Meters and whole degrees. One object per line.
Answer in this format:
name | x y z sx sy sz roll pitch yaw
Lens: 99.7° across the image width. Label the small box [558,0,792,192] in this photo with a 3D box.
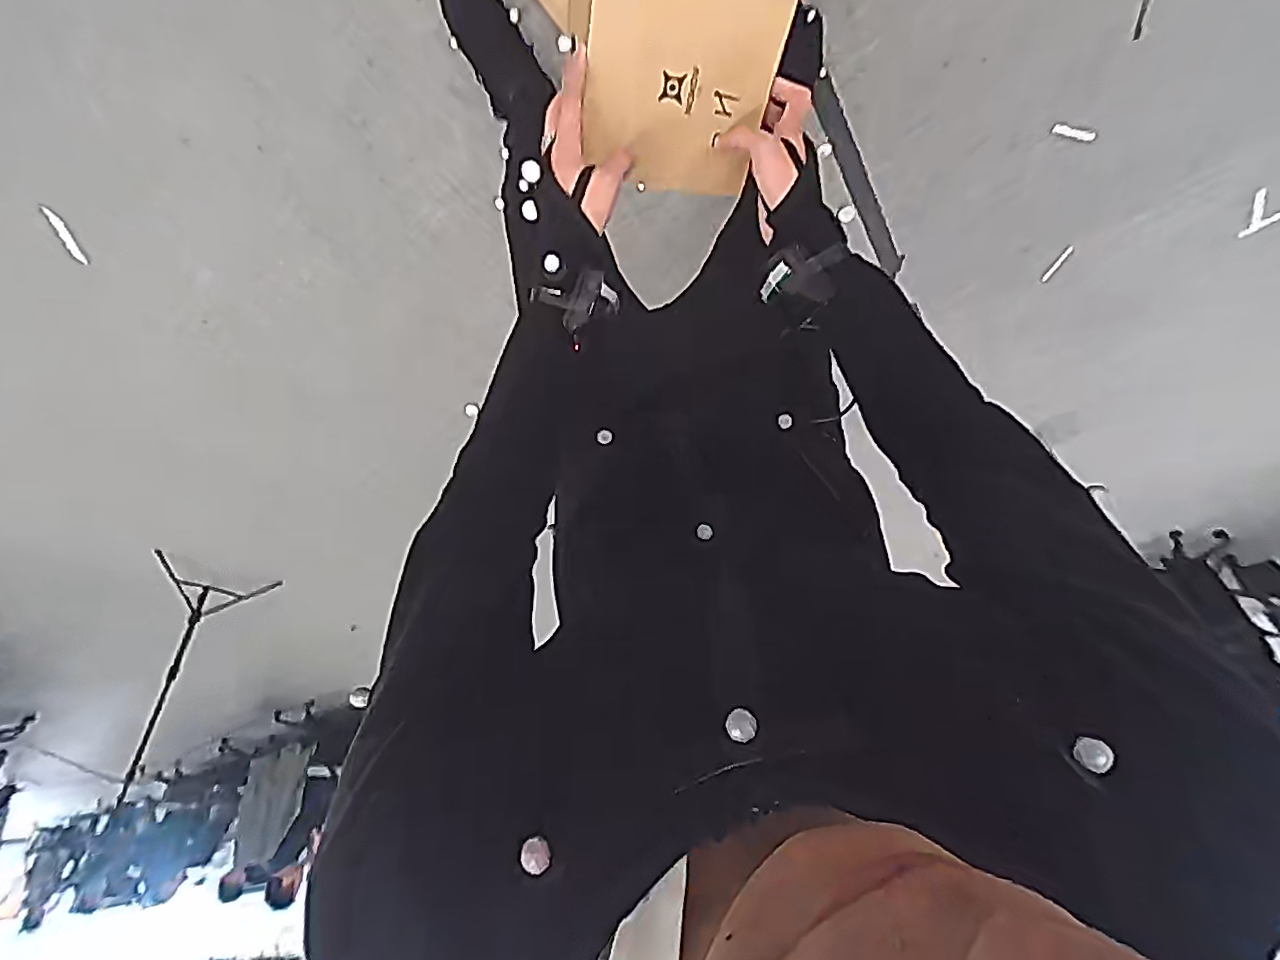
small box | 0.016 -0.414 0.537 0.179 0.176 0.168 0 137 -16
